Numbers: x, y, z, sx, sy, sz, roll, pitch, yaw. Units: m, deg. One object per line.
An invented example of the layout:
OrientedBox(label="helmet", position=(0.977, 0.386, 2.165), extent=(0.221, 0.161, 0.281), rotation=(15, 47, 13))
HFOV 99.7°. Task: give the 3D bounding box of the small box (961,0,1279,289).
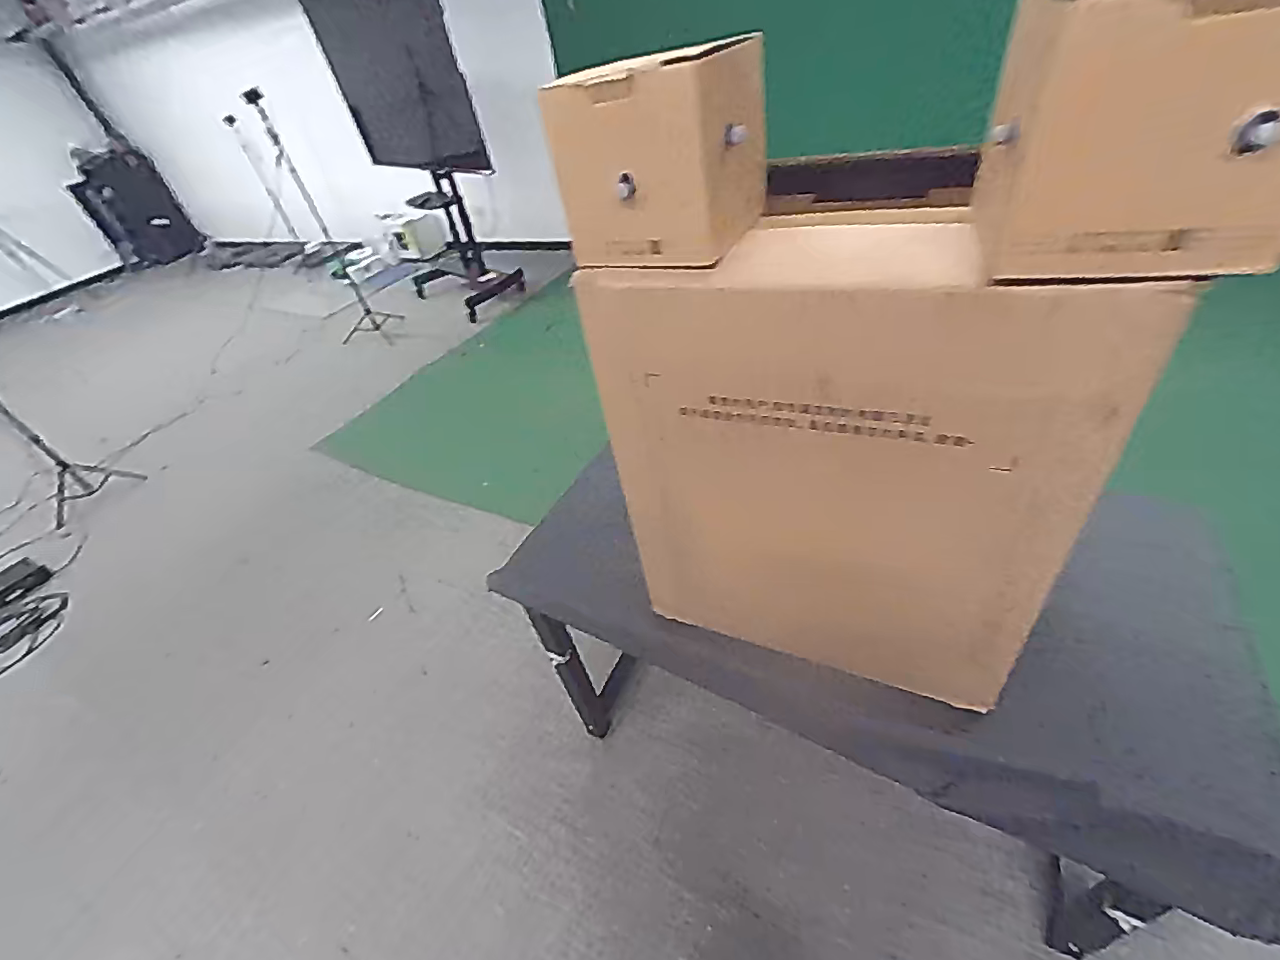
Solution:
OrientedBox(label="small box", position=(0.360, -0.256, 0.407), extent=(0.168, 0.176, 0.179), rotation=(7, 43, 18))

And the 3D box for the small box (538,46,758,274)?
OrientedBox(label="small box", position=(0.025, -0.333, 0.580), extent=(0.168, 0.176, 0.179), rotation=(11, 46, 26))
